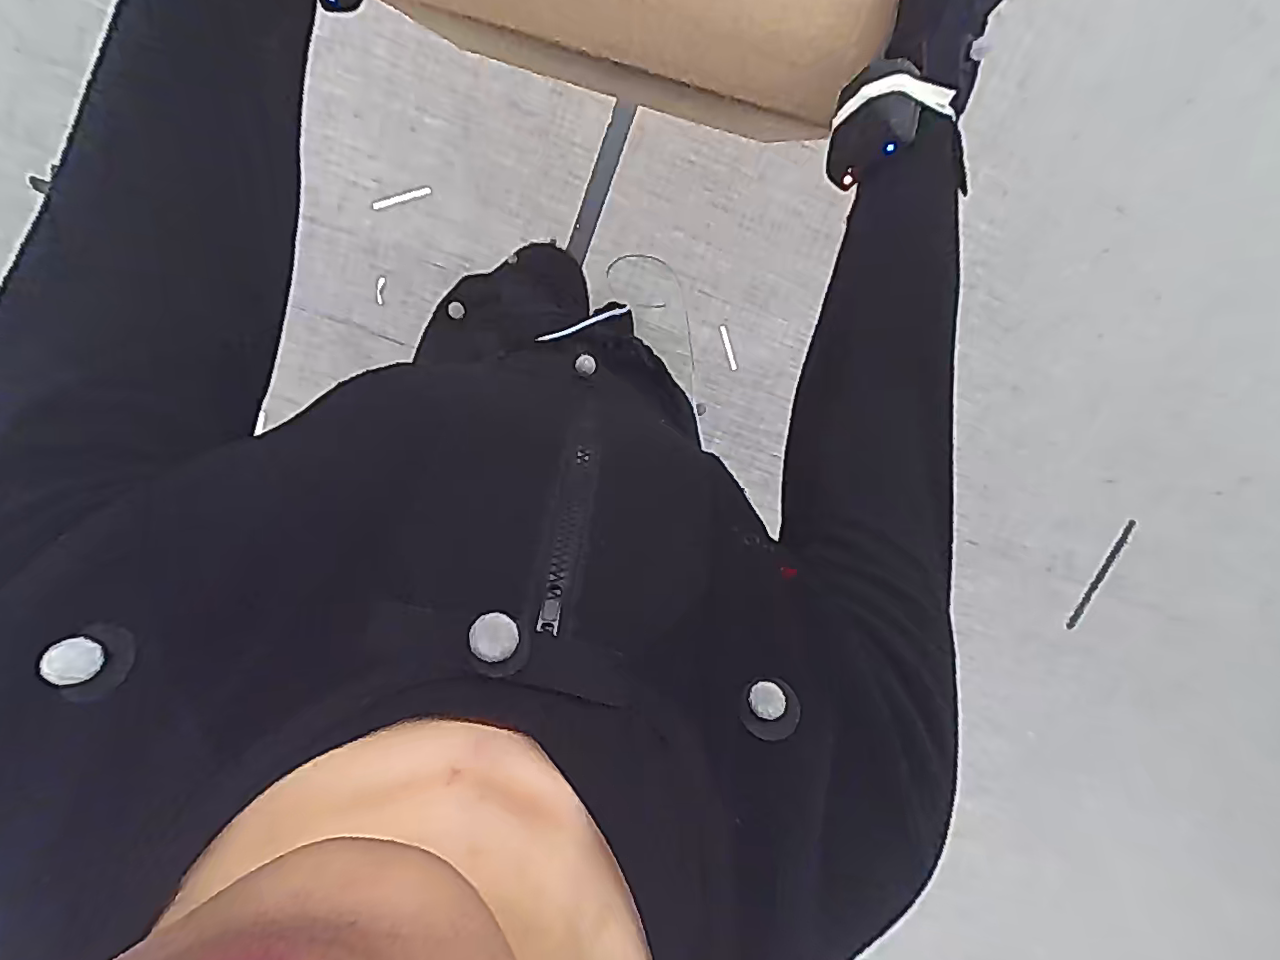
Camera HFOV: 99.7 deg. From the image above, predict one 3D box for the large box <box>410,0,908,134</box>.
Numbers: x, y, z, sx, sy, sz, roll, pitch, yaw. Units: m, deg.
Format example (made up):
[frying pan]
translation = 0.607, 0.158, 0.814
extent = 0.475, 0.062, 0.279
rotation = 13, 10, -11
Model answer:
[large box]
translation = 0.022, -0.535, 0.473
extent = 0.408, 0.320, 0.320
rotation = 11, 121, -9
